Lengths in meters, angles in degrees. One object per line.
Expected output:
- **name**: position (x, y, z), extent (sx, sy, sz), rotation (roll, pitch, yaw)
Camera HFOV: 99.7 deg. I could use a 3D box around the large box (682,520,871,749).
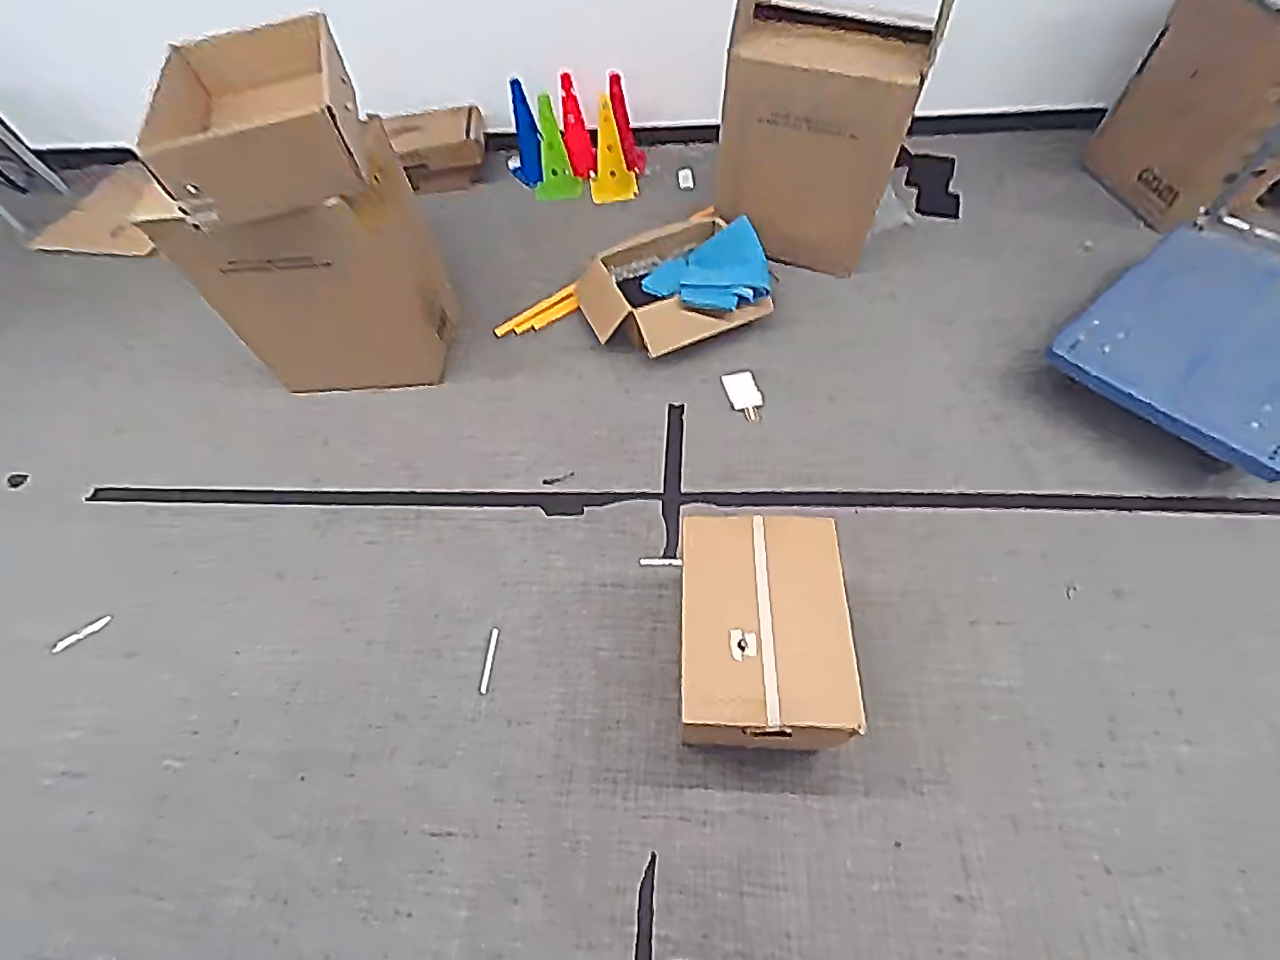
- **large box**: position (0.248, 0.329, 1.144), extent (0.320, 0.320, 0.408), rotation (0, 58, 4)
